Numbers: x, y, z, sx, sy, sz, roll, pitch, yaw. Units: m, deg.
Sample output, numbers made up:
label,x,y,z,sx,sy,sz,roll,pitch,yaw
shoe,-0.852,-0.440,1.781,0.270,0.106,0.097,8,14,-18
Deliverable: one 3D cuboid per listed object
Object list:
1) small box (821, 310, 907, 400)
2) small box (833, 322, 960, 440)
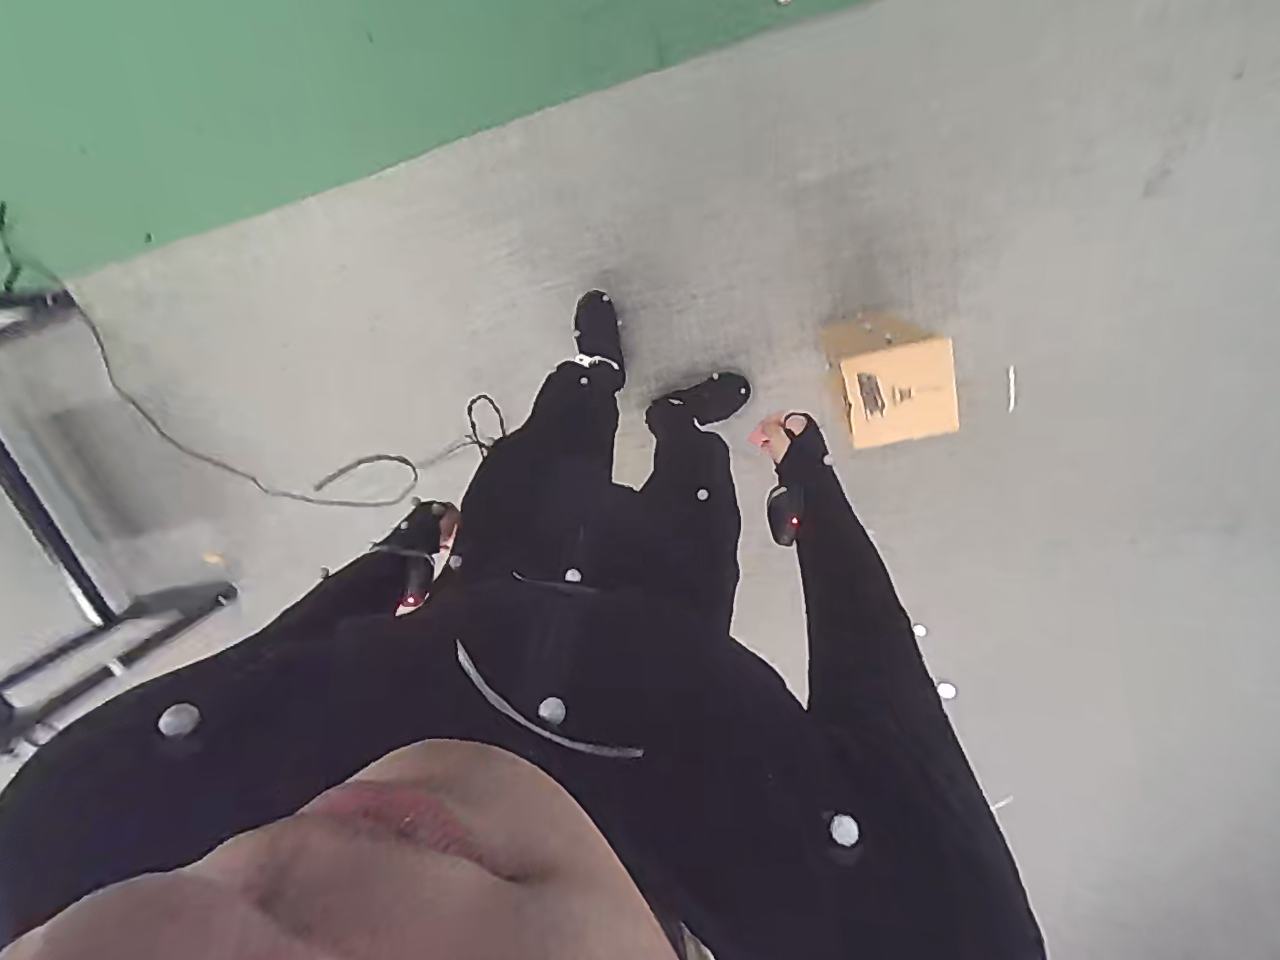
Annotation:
label,x,y,z,sx,sy,sz,roll,pitch,yaw
small box,0.535,-0.304,1.295,0.168,0.176,0.179,-9,109,15
small box,0.462,-0.186,0.998,0.179,0.176,0.168,-11,109,14
